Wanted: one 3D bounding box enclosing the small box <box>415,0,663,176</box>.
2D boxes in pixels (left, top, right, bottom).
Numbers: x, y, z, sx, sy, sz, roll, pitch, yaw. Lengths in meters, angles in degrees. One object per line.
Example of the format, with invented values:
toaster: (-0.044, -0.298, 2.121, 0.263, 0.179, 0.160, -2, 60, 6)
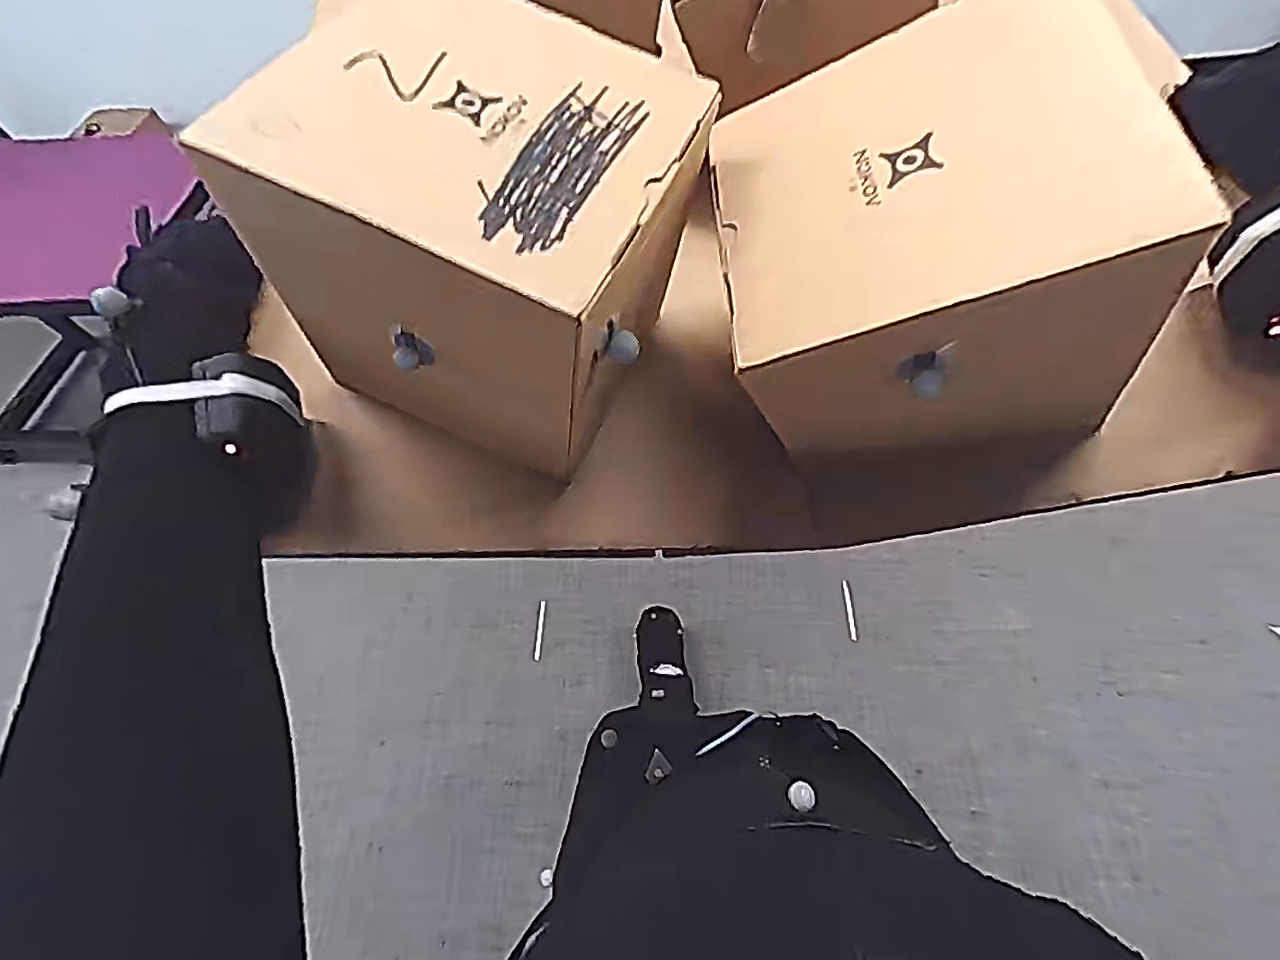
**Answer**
small box: (-0.077, -0.377, 0.432, 0.179, 0.176, 0.168, 2, 67, -9)
